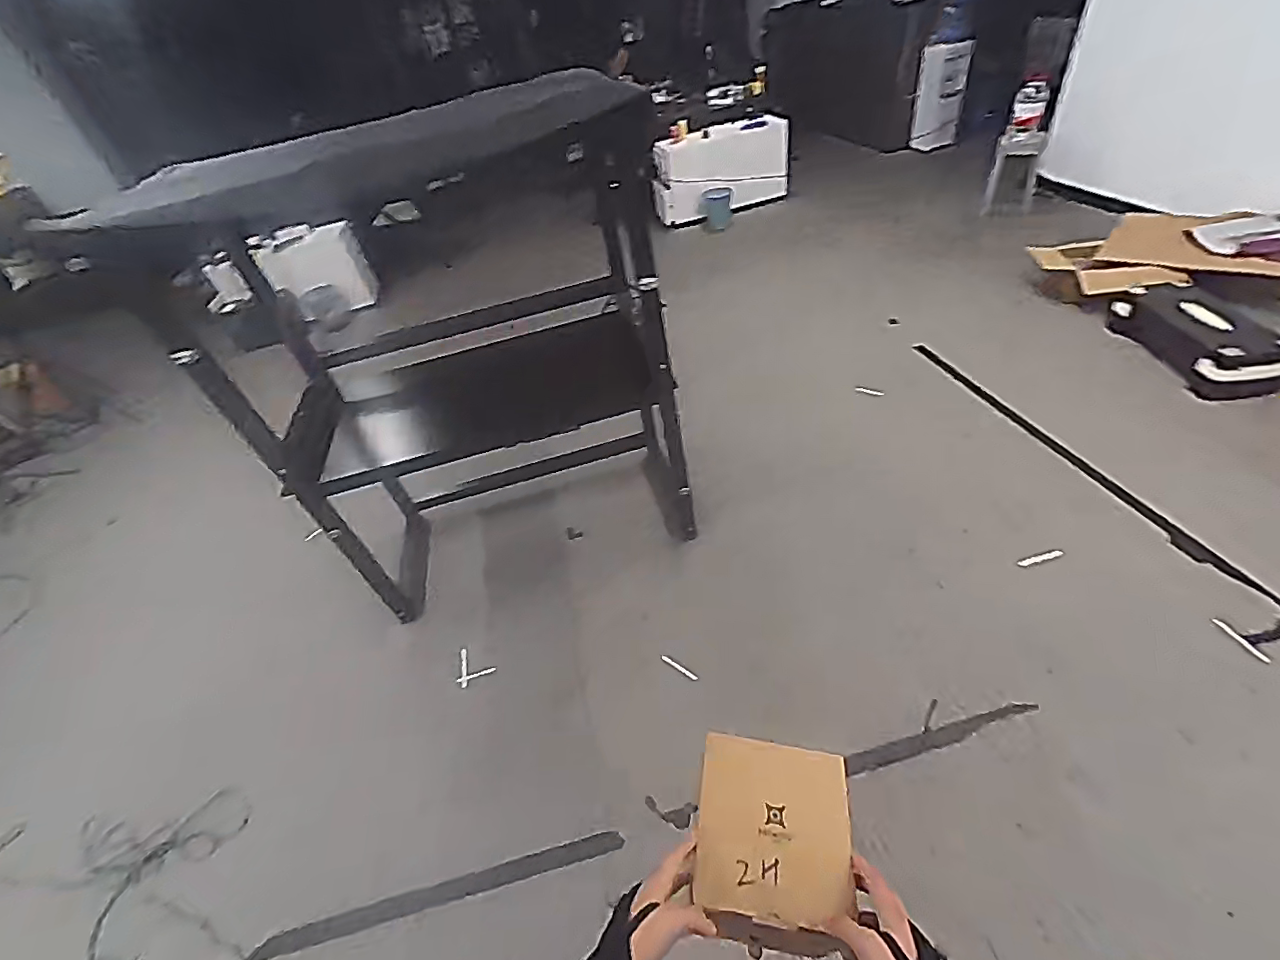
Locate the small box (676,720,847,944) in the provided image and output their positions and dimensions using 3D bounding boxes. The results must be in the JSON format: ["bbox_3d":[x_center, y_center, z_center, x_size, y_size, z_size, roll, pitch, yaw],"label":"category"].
[{"bbox_3d":[0.136,0.423,0.653,0.168,0.176,0.179,7,45,7],"label":"small box"}]
